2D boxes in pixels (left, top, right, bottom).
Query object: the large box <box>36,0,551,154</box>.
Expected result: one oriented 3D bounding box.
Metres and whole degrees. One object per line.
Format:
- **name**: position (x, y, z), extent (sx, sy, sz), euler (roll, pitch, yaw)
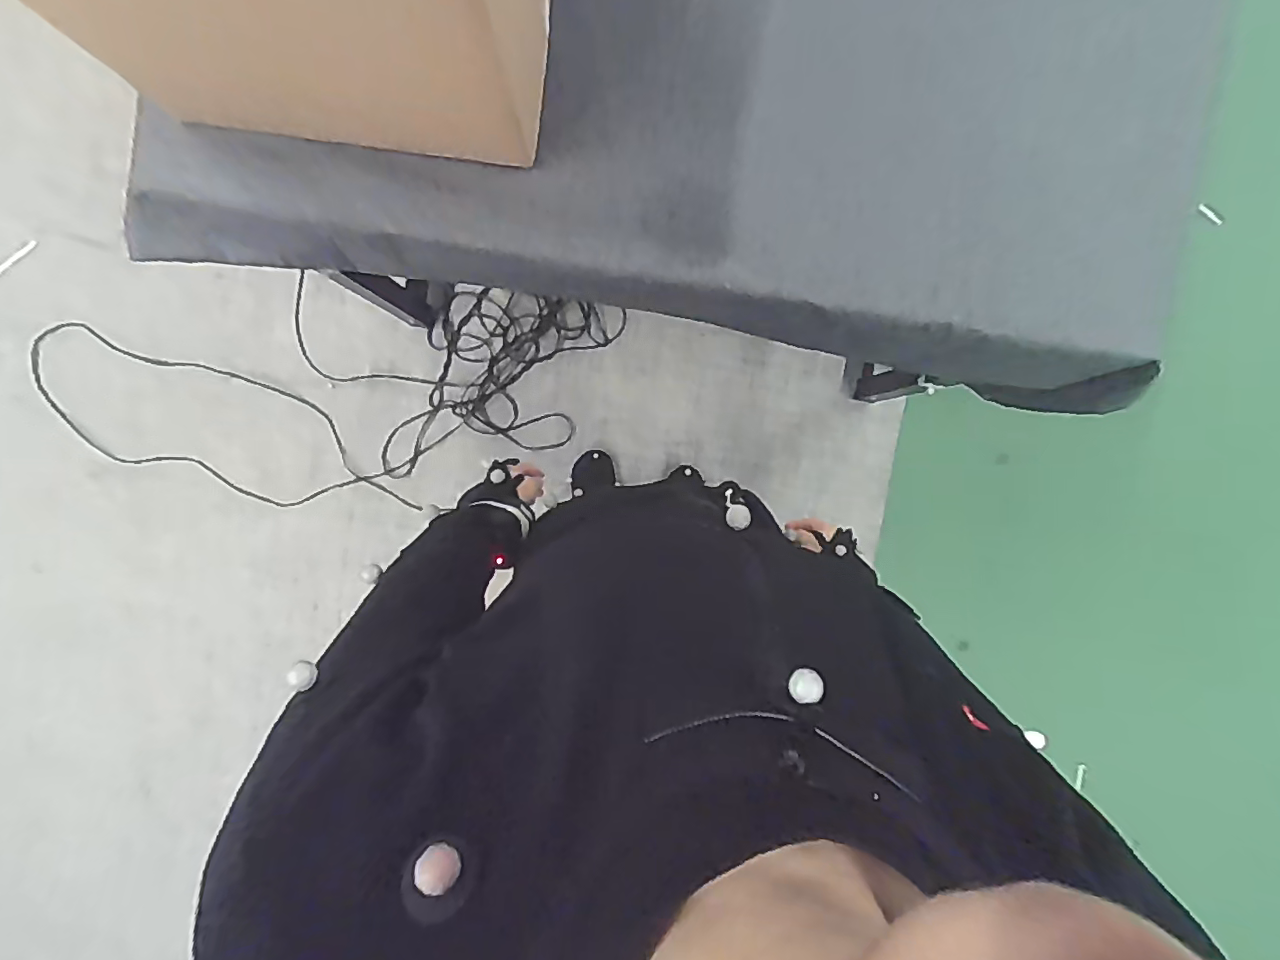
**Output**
- **large box**: position (-0.292, -0.527, 0.449), extent (0.408, 0.320, 0.320), euler (6, 93, -3)
